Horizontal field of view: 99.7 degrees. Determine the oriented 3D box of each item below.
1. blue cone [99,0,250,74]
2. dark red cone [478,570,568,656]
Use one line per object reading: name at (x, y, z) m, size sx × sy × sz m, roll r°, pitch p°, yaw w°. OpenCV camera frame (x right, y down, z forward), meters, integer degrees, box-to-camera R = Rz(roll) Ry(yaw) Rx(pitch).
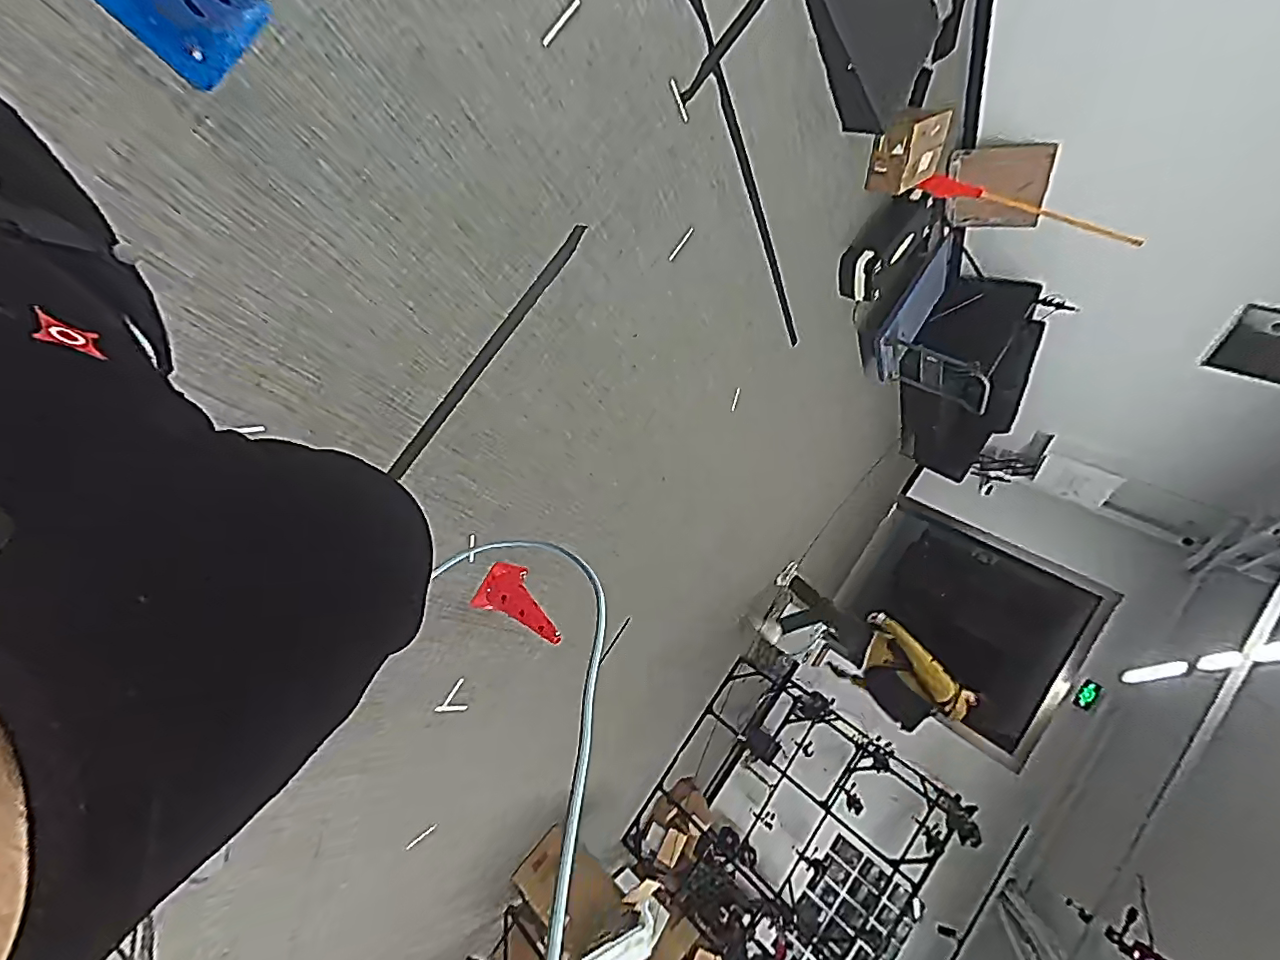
blue cone at (-0.632, -0.718, 0.763) m, size 0.193 × 0.380 × 0.192 m, roll -55°, pitch 146°, yaw -6°
dark red cone at (-0.401, 0.513, 2.000) m, size 0.202 × 0.394 × 0.201 m, roll -60°, pitch 146°, yaw 1°
